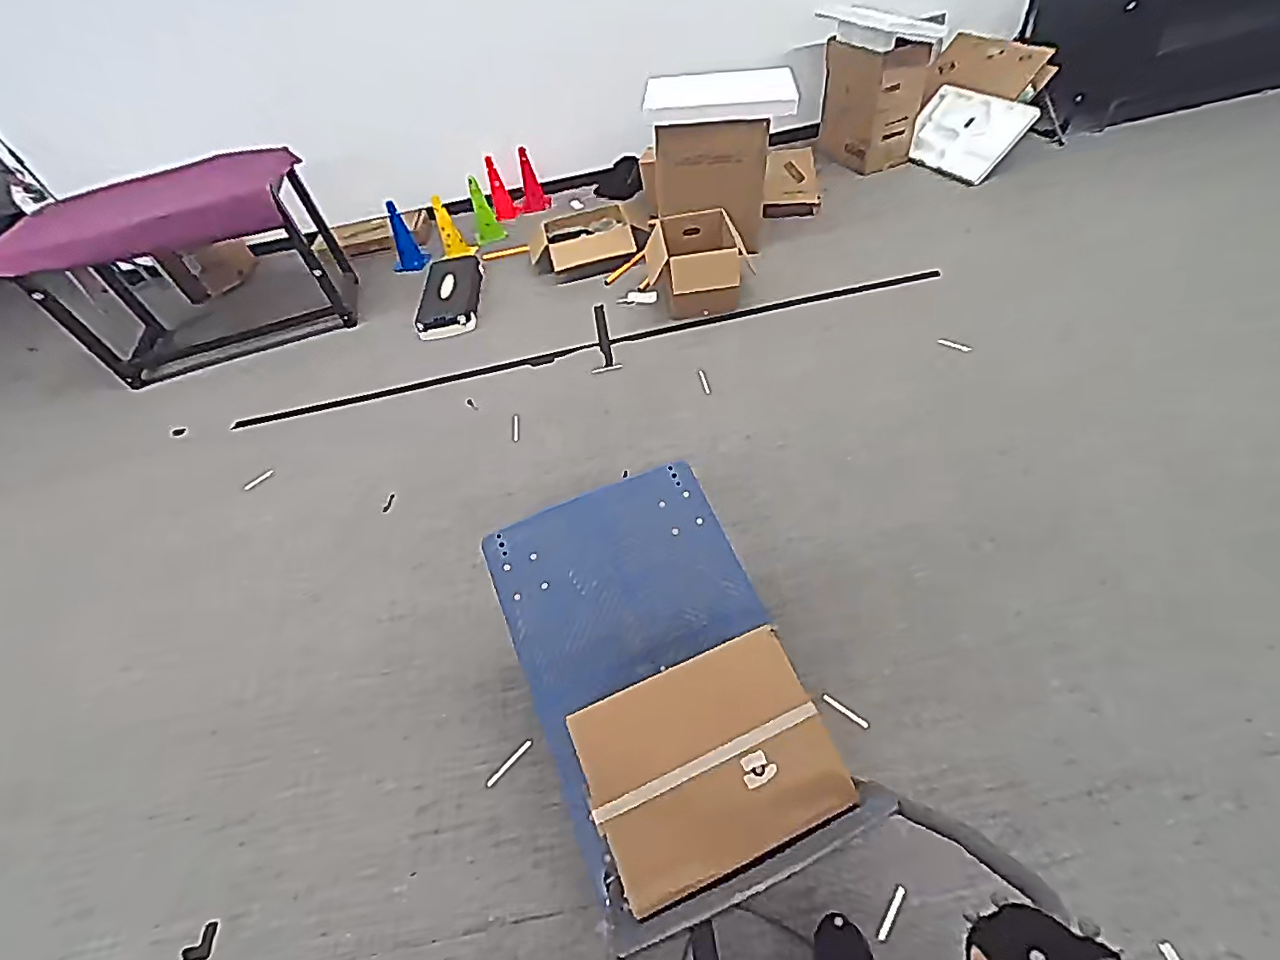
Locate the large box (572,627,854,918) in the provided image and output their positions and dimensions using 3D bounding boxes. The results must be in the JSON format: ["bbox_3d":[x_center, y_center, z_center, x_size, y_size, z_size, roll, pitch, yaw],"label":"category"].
[{"bbox_3d":[0.118,0.538,1.058,0.408,0.320,0.320,-22,69,-10],"label":"large box"}]
